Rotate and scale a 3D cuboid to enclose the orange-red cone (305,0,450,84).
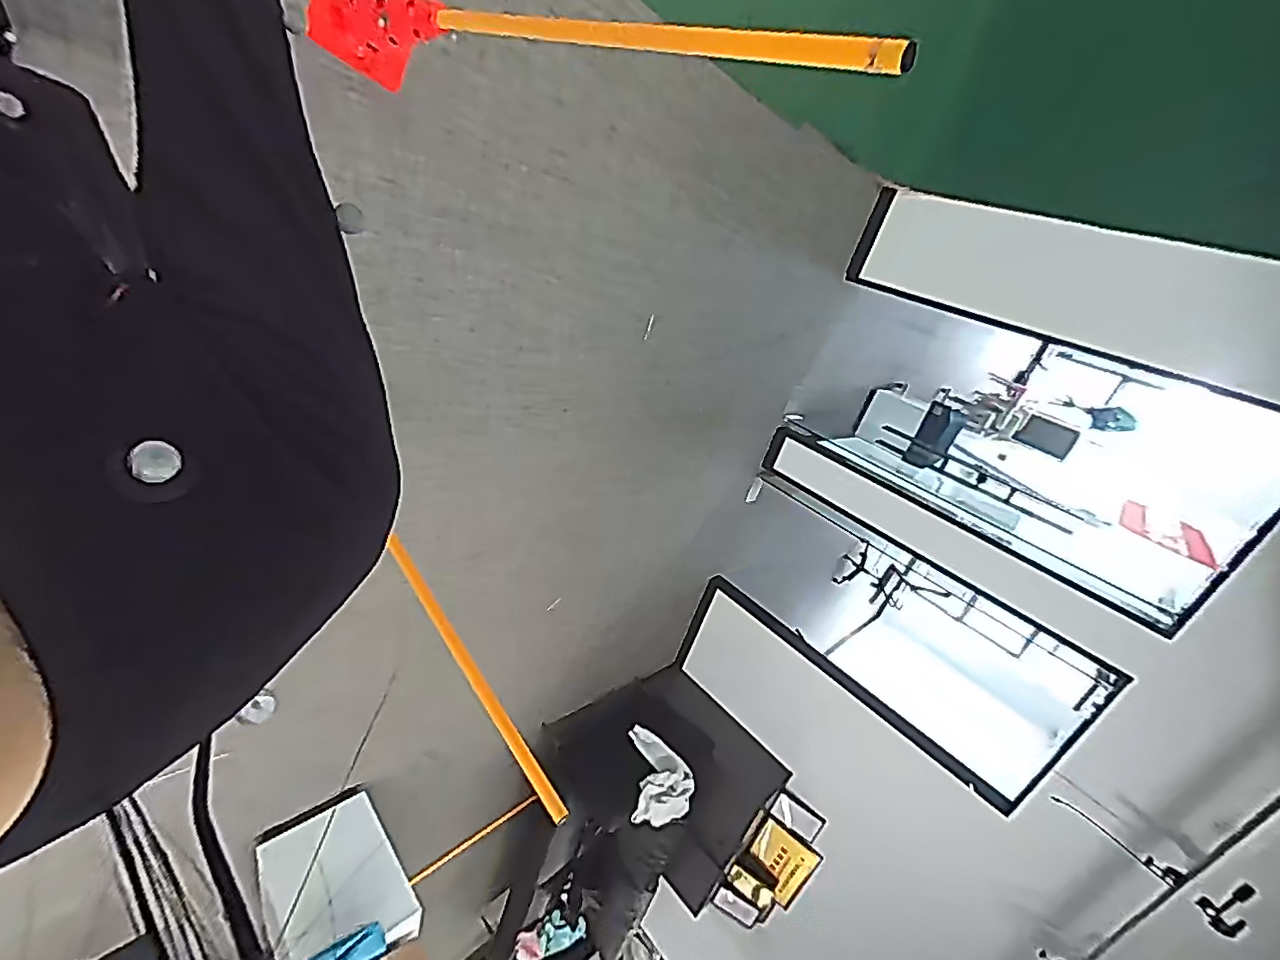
[{"bbox_3d":[-0.458,-0.890,1.028,0.198,0.360,0.199,9,114,-52],"label":"orange-red cone"}]
